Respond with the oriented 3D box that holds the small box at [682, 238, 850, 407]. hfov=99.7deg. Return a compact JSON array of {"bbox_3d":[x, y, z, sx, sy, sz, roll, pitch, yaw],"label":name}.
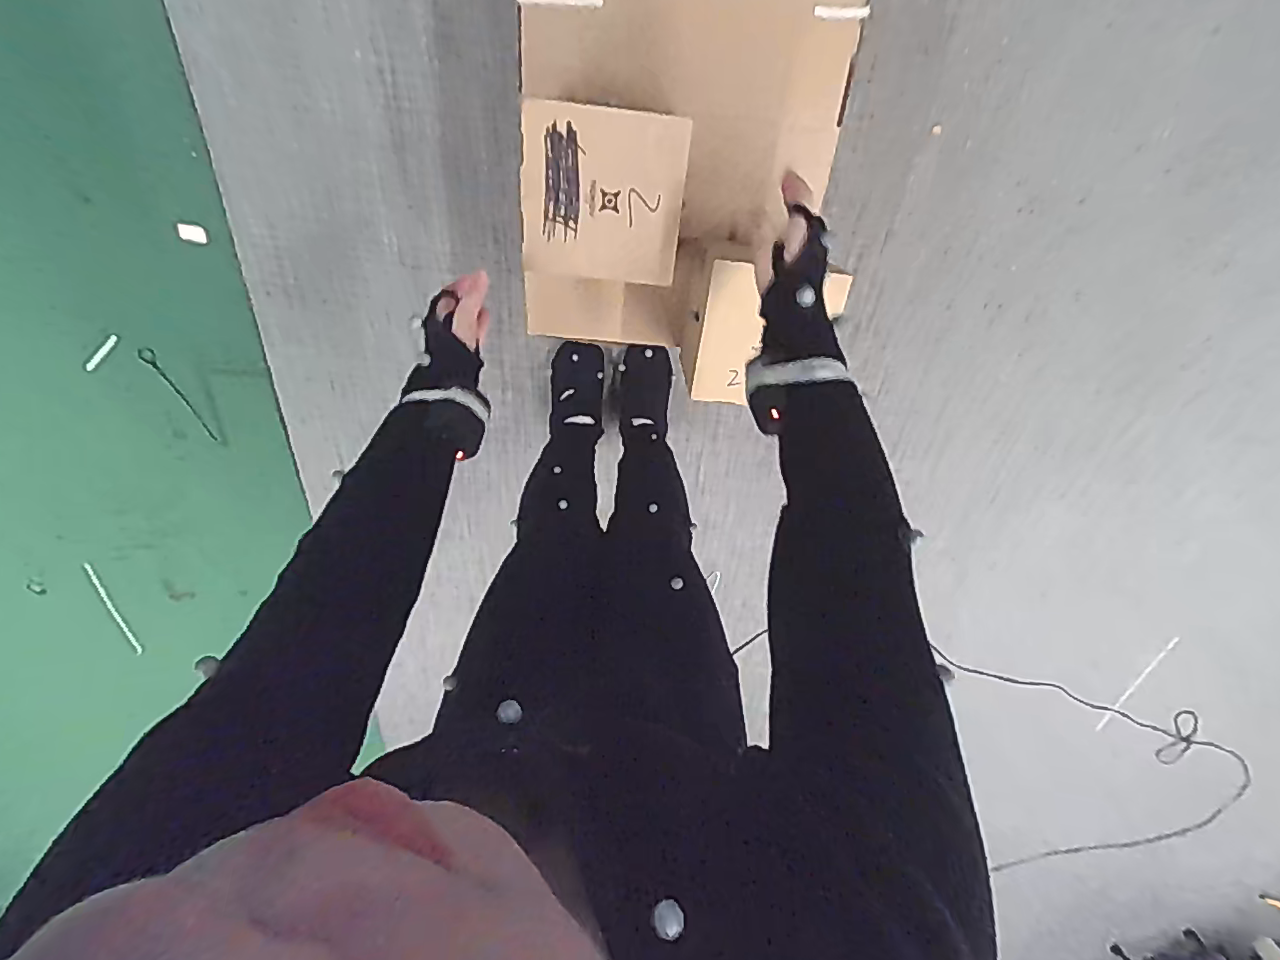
[{"bbox_3d":[0.153,-0.219,0.733,0.168,0.176,0.179,5,122,-5],"label":"small box"}]
